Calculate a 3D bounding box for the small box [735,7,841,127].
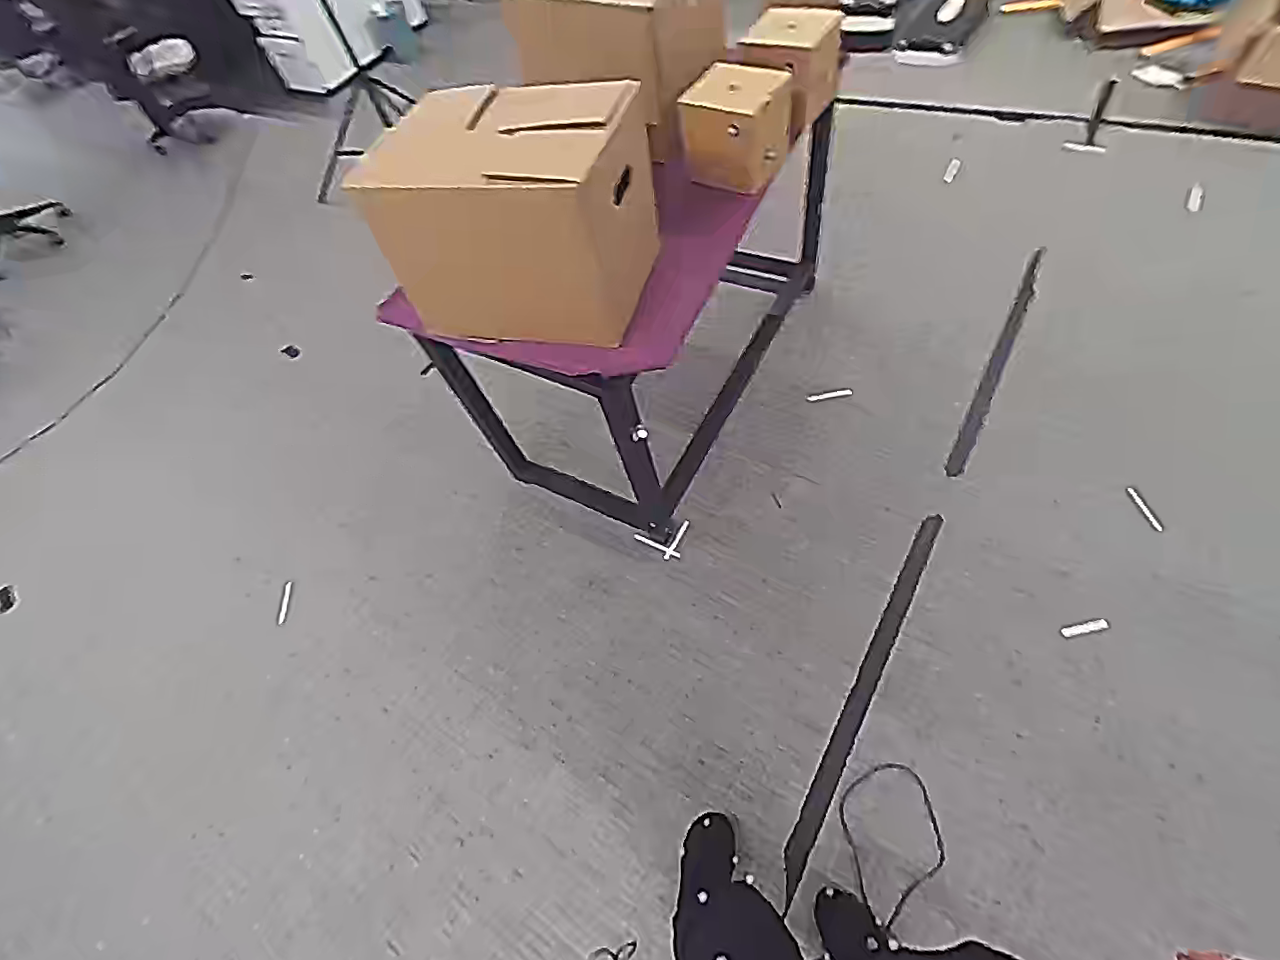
[{"bbox_3d":[0.337,-0.946,1.245,0.179,0.176,0.168,25,67,25],"label":"small box"}]
